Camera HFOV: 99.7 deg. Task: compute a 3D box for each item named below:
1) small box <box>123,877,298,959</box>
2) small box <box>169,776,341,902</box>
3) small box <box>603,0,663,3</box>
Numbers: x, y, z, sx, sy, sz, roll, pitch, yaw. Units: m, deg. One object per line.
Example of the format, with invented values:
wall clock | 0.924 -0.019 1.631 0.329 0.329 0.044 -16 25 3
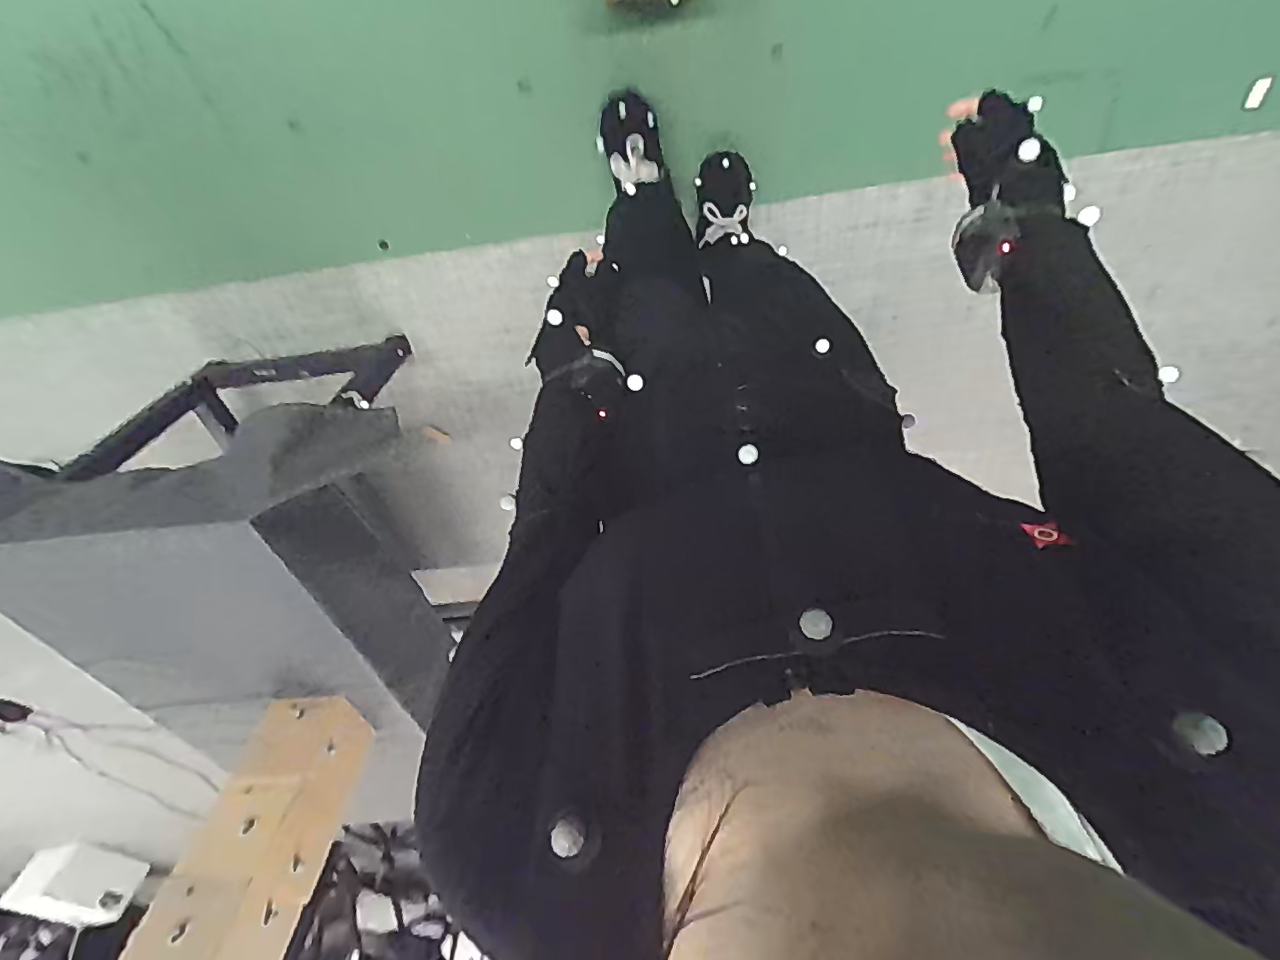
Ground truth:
small box | -0.730 0.792 0.912 0.168 0.176 0.179 -5 128 5
small box | -0.721 0.687 1.037 0.168 0.176 0.179 -6 128 6
small box | 0.013 -0.903 0.887 0.179 0.176 0.168 -3 128 4
